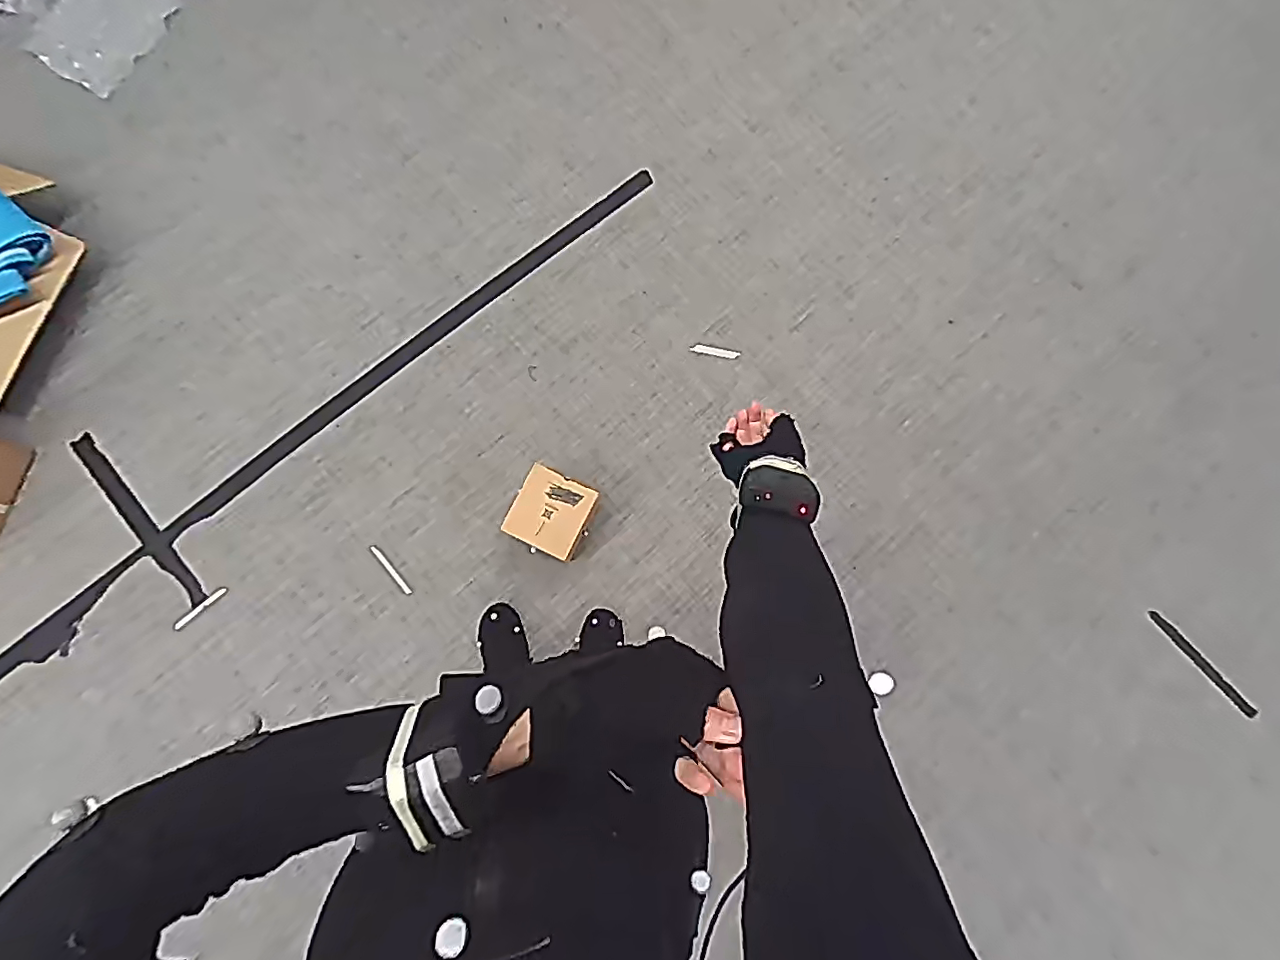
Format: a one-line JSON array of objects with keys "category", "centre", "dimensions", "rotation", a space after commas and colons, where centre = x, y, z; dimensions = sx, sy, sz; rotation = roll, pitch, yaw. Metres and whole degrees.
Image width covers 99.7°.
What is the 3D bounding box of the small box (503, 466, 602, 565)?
[{"category": "small box", "centre": [-0.204, 0.090, 1.300], "dimensions": [0.168, 0.176, 0.179], "rotation": [26, 80, 1]}]
